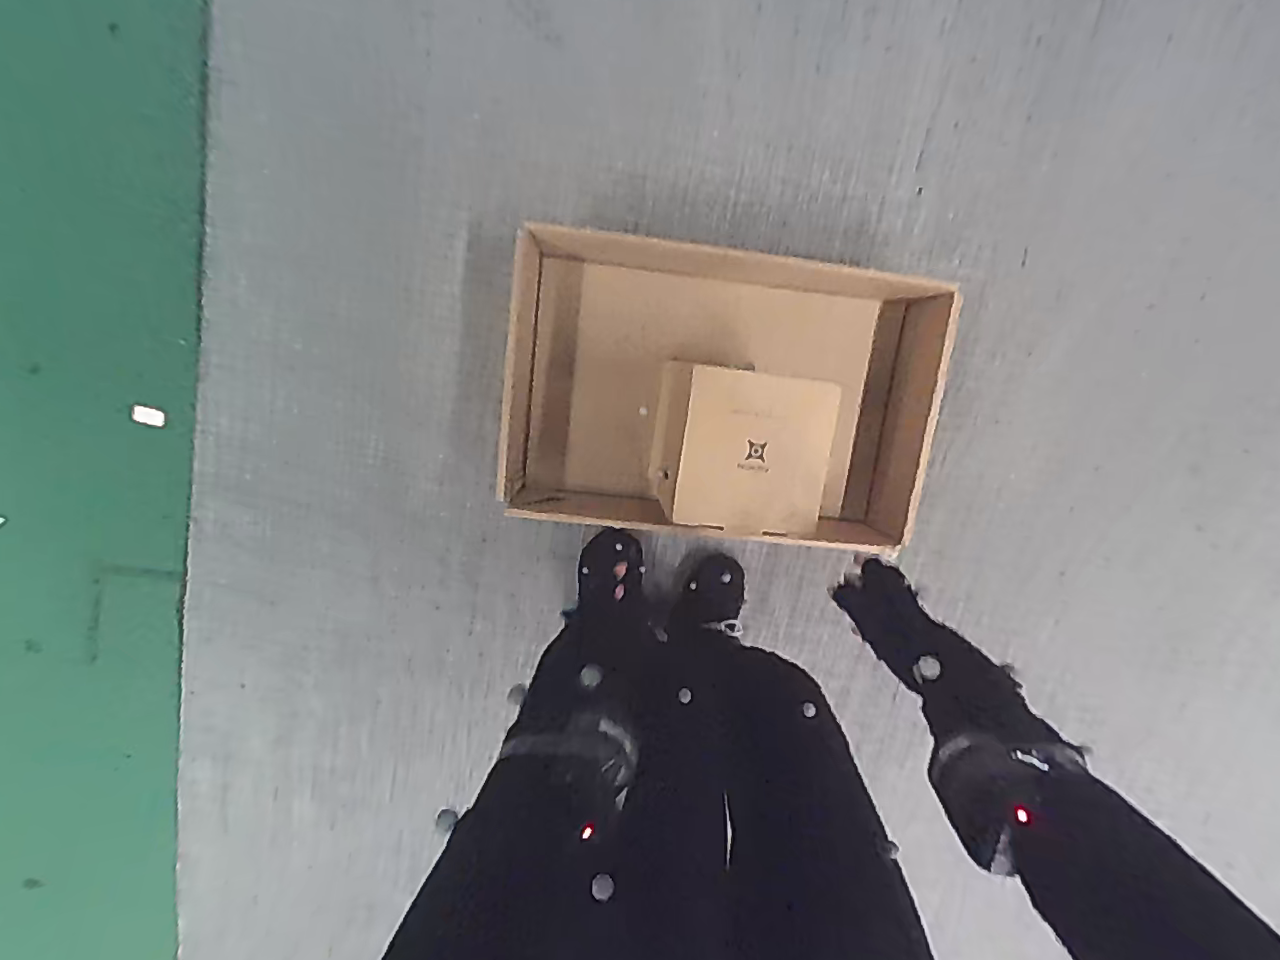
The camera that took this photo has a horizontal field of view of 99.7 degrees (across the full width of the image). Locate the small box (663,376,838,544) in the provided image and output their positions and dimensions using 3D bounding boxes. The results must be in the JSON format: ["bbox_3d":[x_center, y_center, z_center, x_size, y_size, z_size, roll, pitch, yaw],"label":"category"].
[{"bbox_3d":[0.120,-0.033,0.660,0.168,0.176,0.179,2,101,-4],"label":"small box"}]

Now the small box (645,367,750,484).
[{"bbox_3d":[0.107,-0.079,0.832,0.179,0.176,0.168,7,100,-2],"label":"small box"}]
